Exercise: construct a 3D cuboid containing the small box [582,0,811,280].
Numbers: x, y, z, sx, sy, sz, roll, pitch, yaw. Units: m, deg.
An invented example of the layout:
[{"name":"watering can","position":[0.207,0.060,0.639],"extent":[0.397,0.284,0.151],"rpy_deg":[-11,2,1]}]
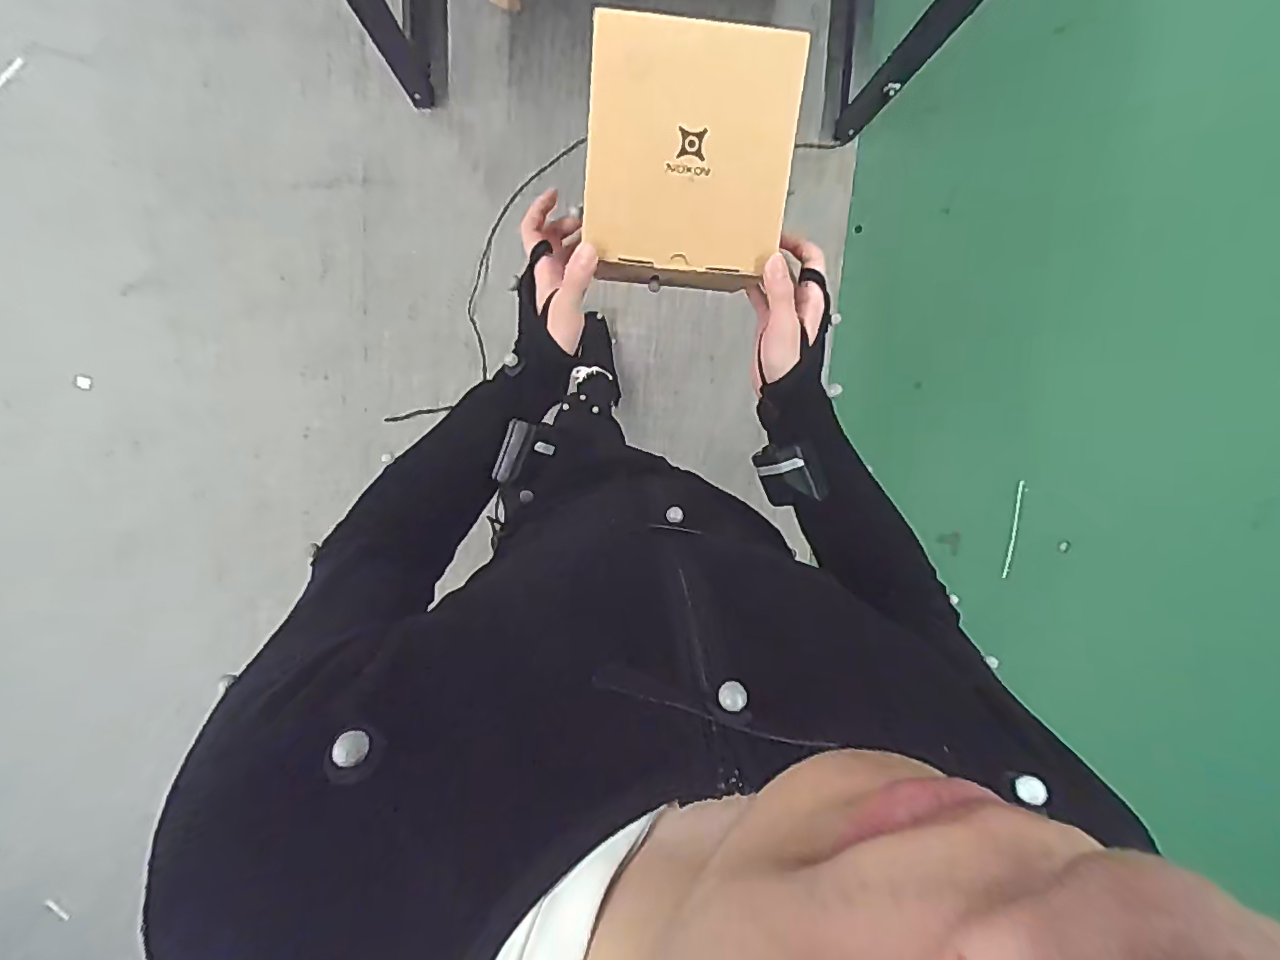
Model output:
[{"name":"small box","position":[0.037,-0.290,0.497],"extent":[0.168,0.176,0.179],"rpy_deg":[4,106,-3]}]
